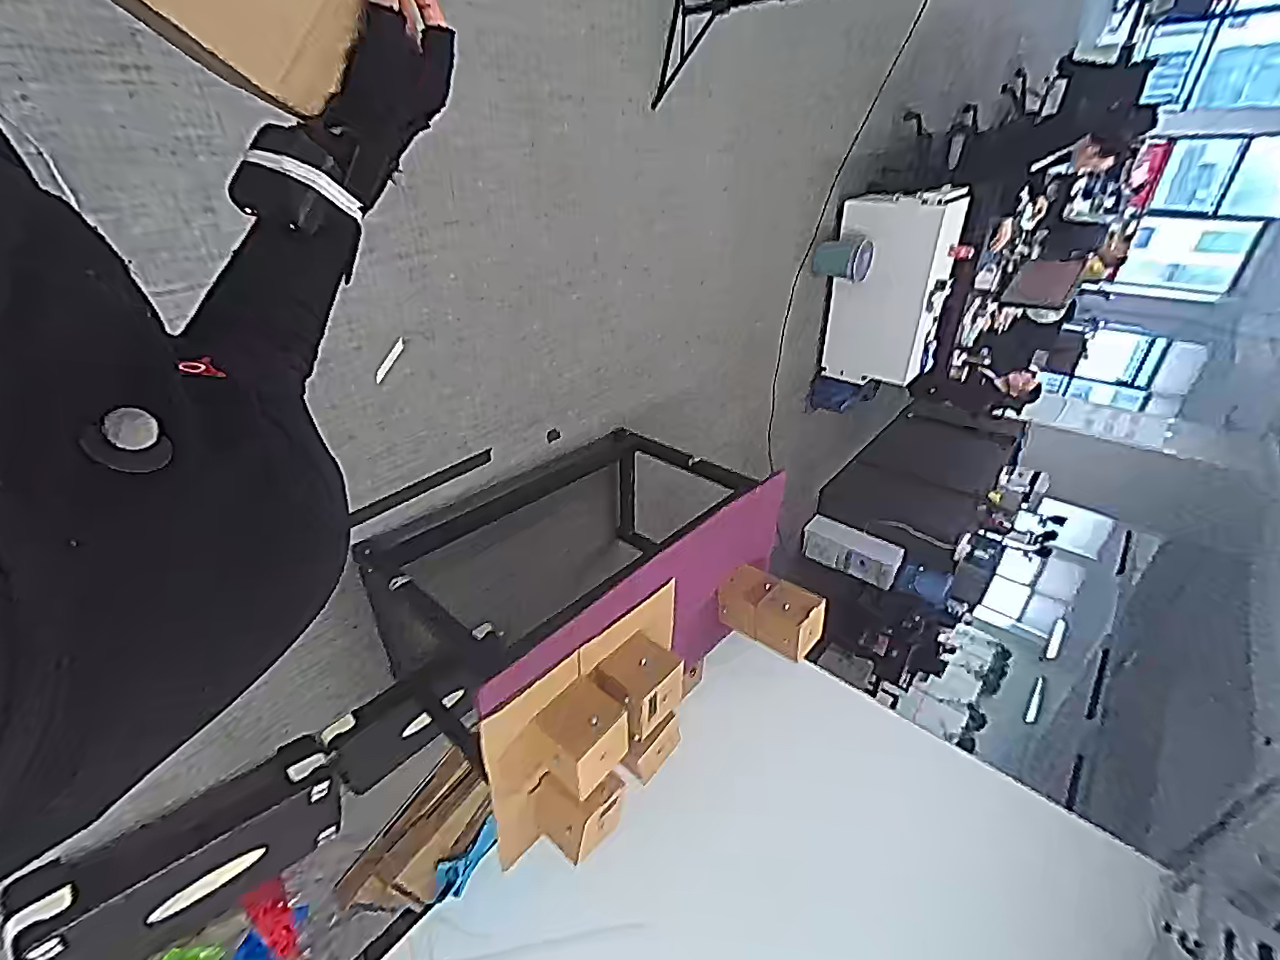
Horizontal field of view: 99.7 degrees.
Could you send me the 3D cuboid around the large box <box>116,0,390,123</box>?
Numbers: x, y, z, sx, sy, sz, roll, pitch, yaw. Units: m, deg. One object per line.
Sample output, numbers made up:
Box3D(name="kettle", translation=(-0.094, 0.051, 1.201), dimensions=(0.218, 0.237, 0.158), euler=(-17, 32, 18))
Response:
Box3D(name="large box", translation=(-0.377, -0.531, 0.336), dimensions=(0.320, 0.320, 0.408), euler=(-55, 148, 8))
